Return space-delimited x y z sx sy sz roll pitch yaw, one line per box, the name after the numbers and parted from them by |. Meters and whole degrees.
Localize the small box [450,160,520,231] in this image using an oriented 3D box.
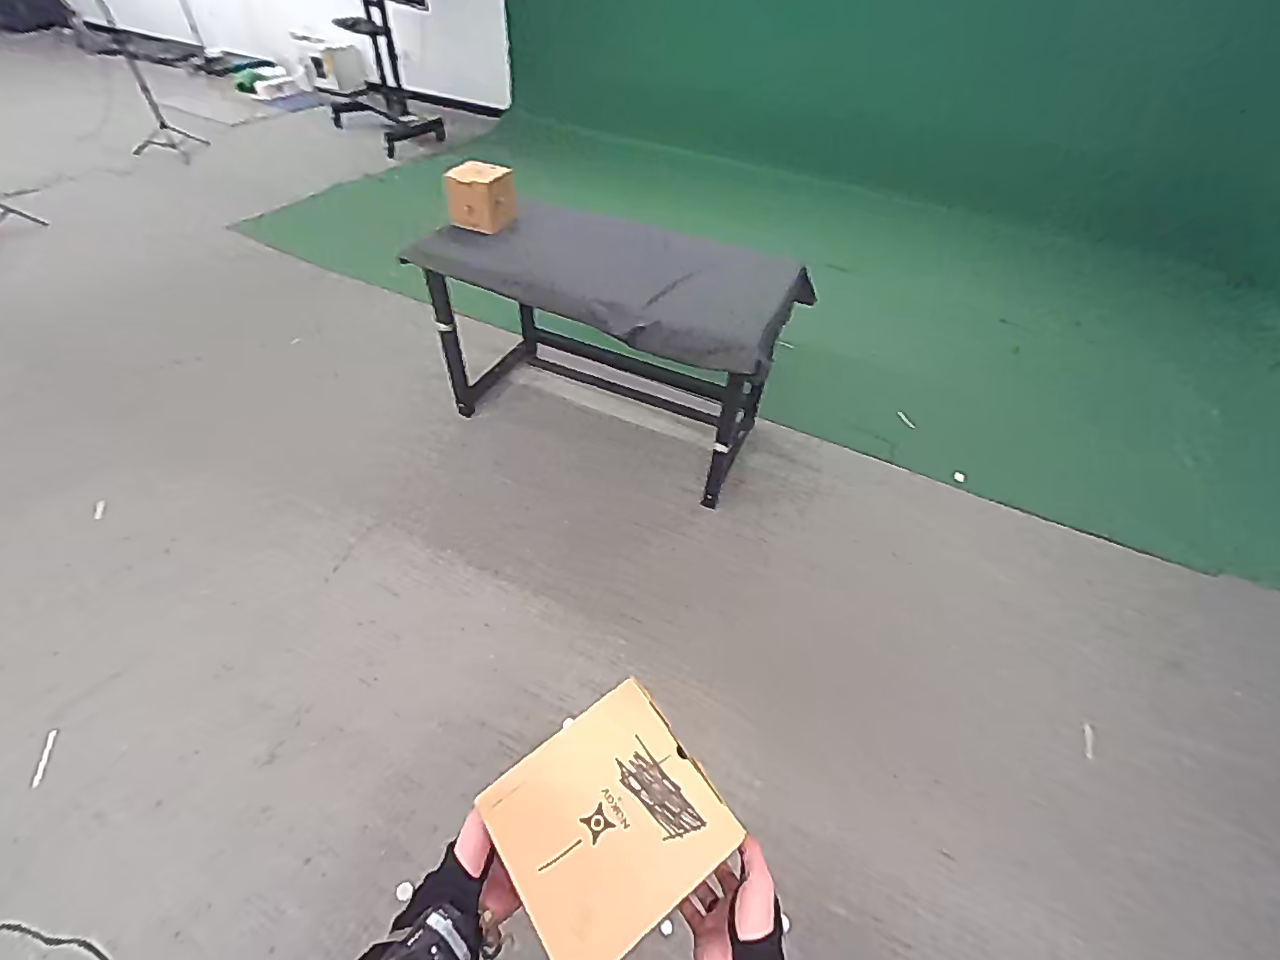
-0.540 -1.006 1.918 0.168 0.176 0.179 18 49 12 | small box
